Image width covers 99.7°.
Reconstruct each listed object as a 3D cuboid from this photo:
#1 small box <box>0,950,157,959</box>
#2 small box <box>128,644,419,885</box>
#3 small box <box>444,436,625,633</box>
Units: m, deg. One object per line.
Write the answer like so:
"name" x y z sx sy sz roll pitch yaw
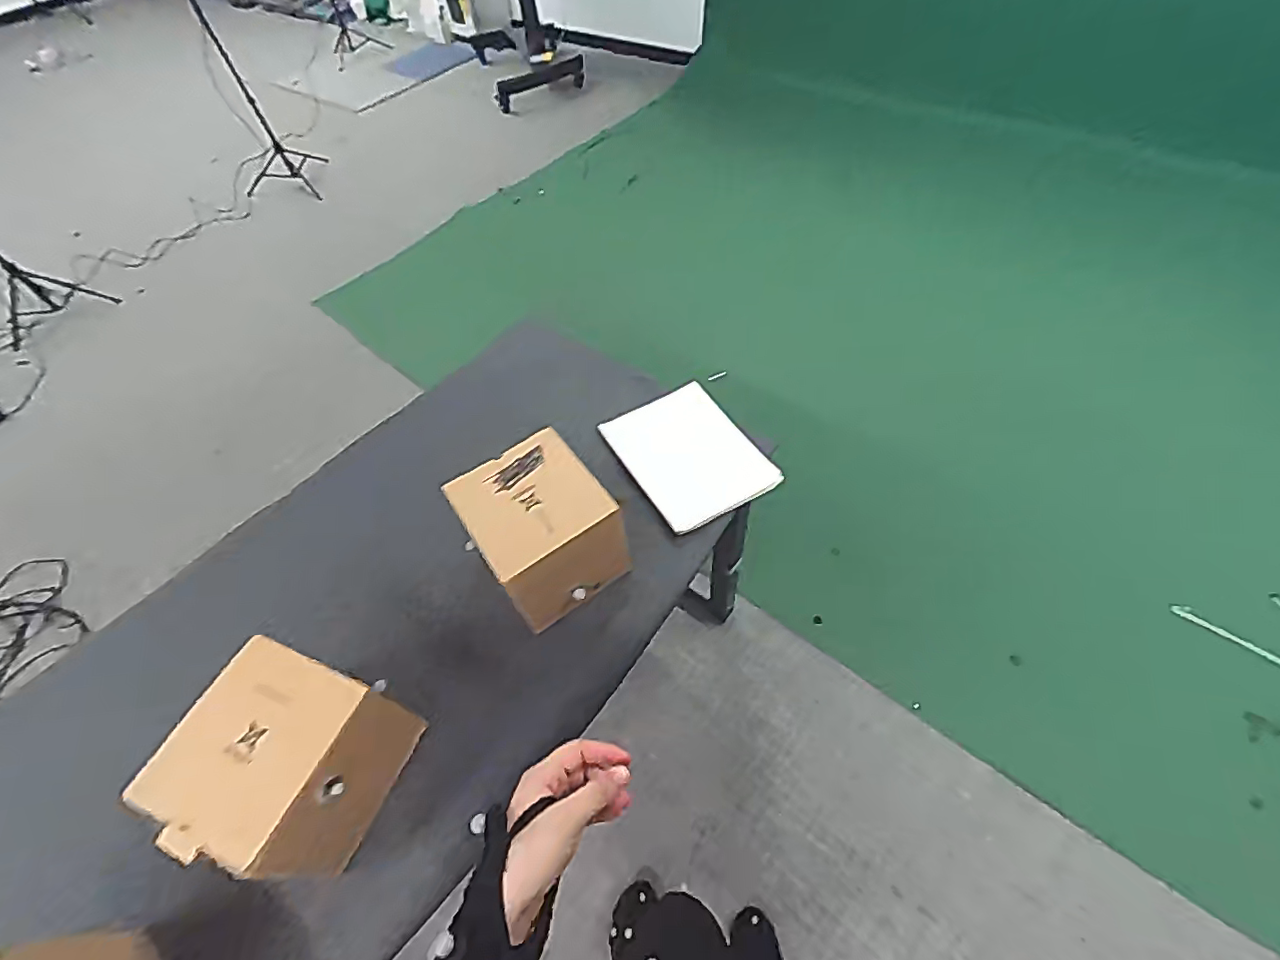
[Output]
"small box" -0.518 0.545 0.457 0.179 0.176 0.168 26 60 21
"small box" -0.385 0.319 0.608 0.168 0.176 0.179 16 57 15
"small box" -0.138 0.079 0.751 0.168 0.176 0.179 -33 58 -16
